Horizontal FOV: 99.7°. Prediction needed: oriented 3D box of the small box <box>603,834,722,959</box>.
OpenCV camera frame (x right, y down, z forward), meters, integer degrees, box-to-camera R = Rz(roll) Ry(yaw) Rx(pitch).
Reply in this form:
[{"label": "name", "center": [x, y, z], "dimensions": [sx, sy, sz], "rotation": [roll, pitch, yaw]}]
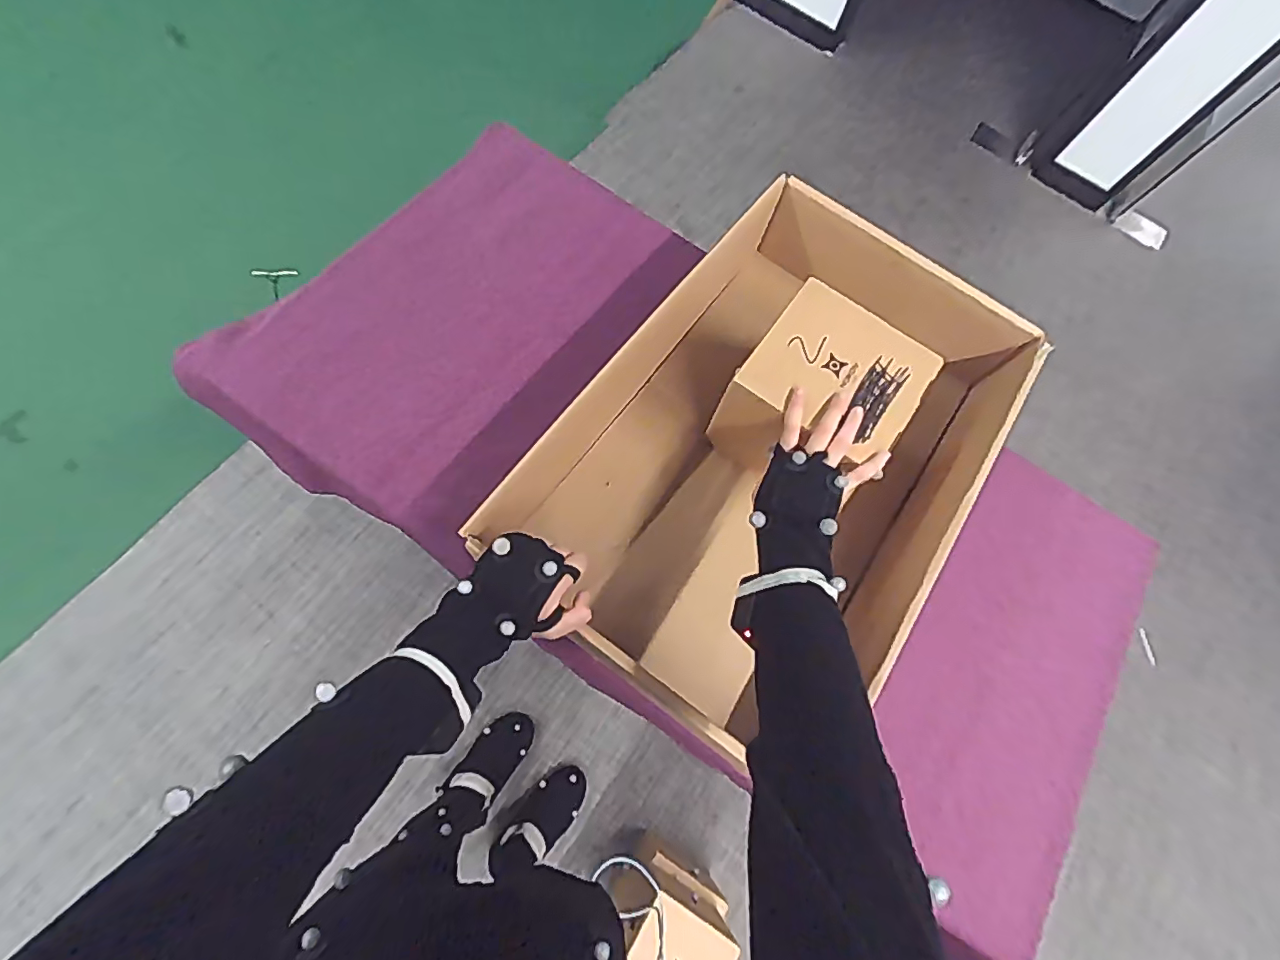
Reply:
[{"label": "small box", "center": [0.040, 0.880, 1.124], "dimensions": [0.179, 0.176, 0.168], "rotation": [34, 70, 6]}]
